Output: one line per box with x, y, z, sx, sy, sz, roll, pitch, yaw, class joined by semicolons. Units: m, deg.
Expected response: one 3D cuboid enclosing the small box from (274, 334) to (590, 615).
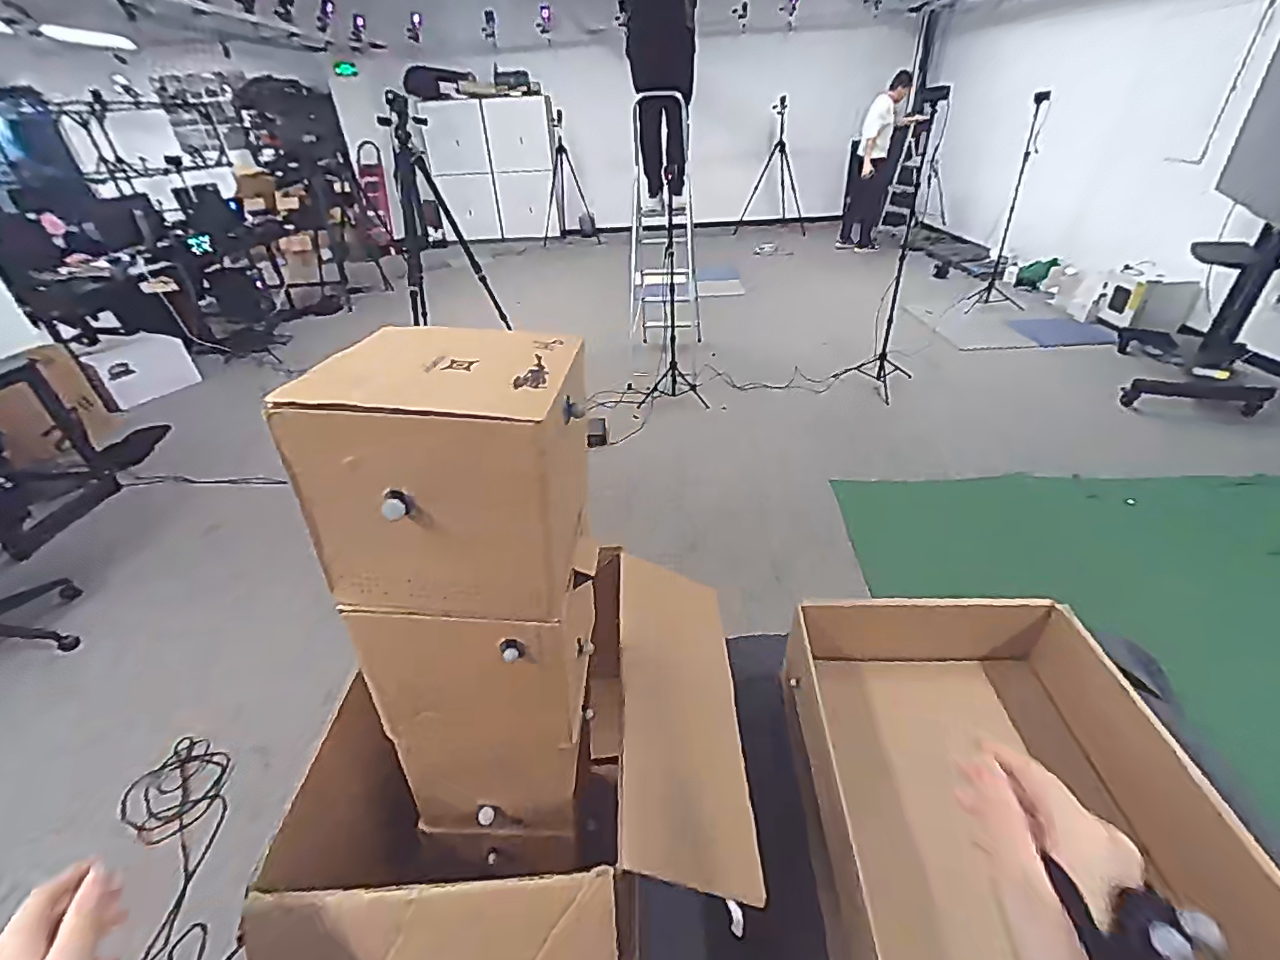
-0.139;-0.009;0.439;0.179;0.176;0.168;4;33;2;small box

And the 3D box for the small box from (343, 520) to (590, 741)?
-0.145;0.130;0.526;0.179;0.176;0.168;3;33;0;small box
